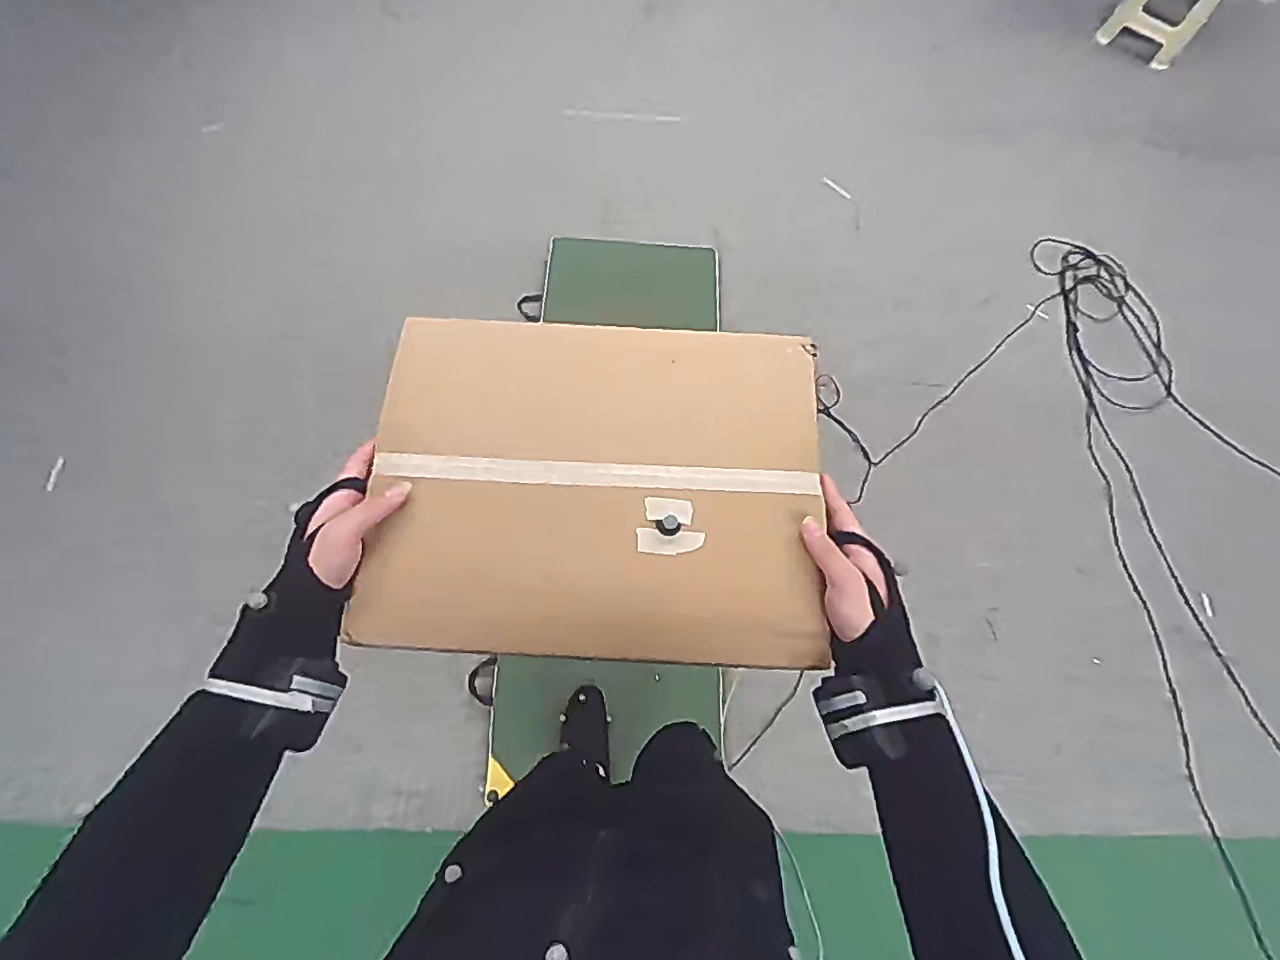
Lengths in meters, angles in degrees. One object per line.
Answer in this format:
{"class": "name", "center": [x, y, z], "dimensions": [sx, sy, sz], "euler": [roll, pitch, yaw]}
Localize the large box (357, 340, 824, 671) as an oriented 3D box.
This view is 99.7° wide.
{"class": "large box", "center": [-0.041, 0.056, 0.642], "dimensions": [0.408, 0.320, 0.320], "euler": [3, 72, 0]}
